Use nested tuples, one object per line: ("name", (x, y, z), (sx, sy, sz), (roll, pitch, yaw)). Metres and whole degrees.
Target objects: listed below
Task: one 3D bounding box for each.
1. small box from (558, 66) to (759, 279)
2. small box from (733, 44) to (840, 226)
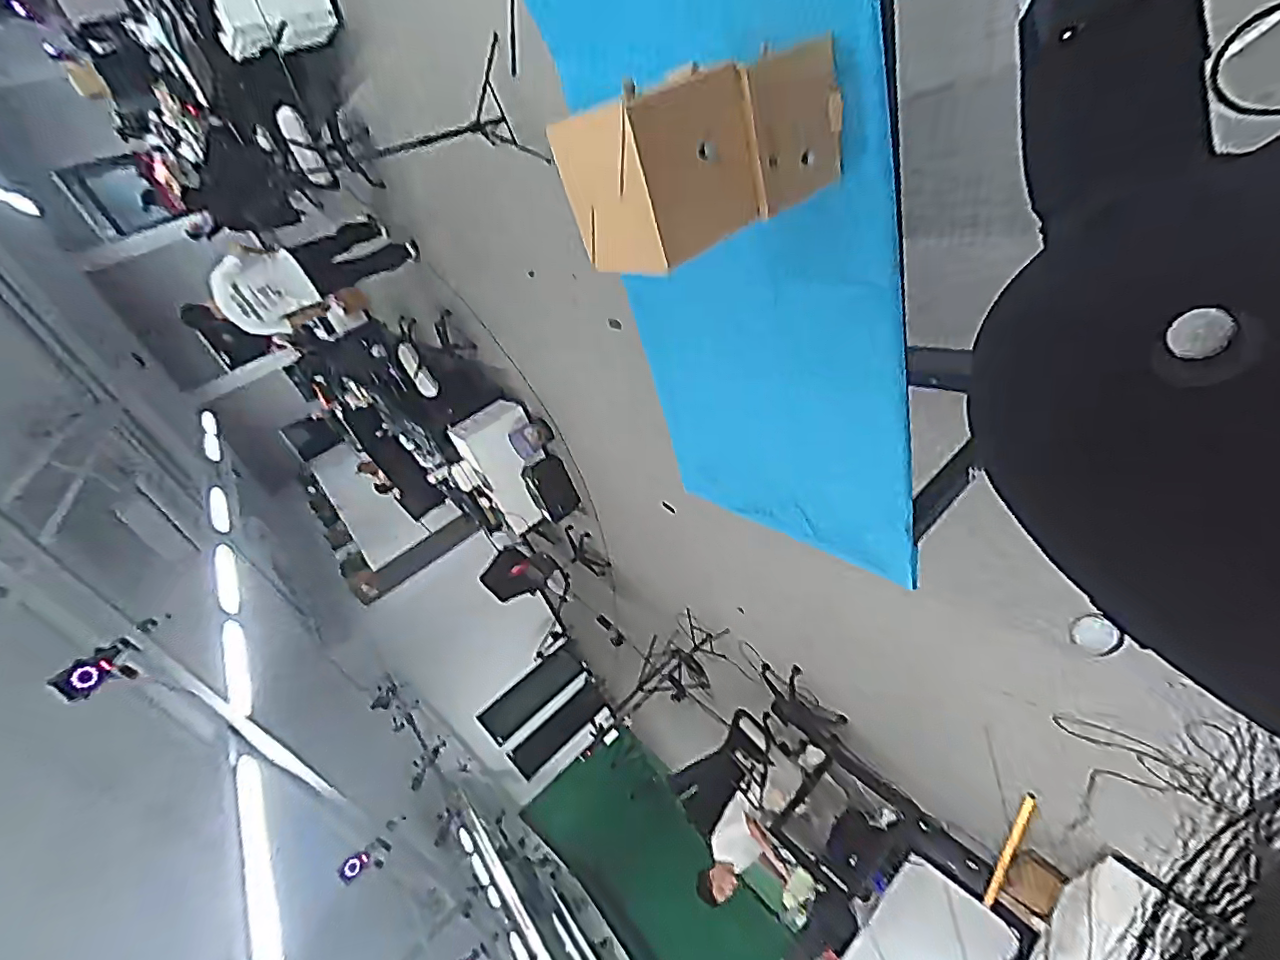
("small box", (0.020, -0.377, 0.683), (0.168, 0.176, 0.179), (28, 149, 47))
("small box", (0.146, -0.460, 0.748), (0.179, 0.176, 0.168), (25, 144, 48))
